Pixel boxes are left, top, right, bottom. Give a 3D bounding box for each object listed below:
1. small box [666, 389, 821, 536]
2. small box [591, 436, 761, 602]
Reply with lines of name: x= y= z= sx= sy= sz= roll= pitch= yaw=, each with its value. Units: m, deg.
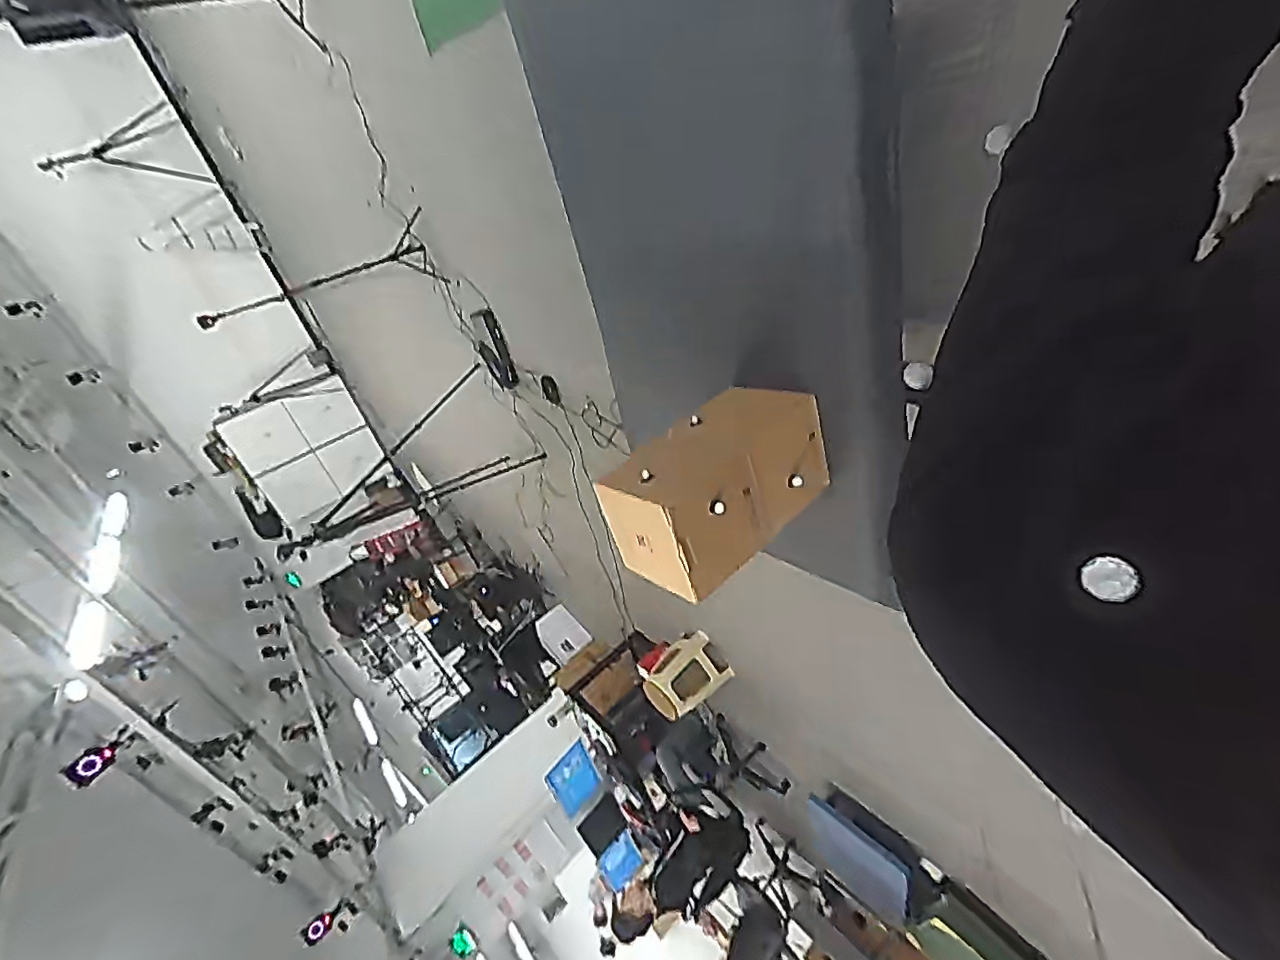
small box: x=0.178 y=-0.039 z=0.888 sx=0.179 sy=0.176 sz=0.168 roll=17 pitch=135 yaw=50
small box: x=0.062 y=0.046 z=0.812 sx=0.179 sy=0.176 sz=0.168 roll=17 pitch=133 yaw=51
